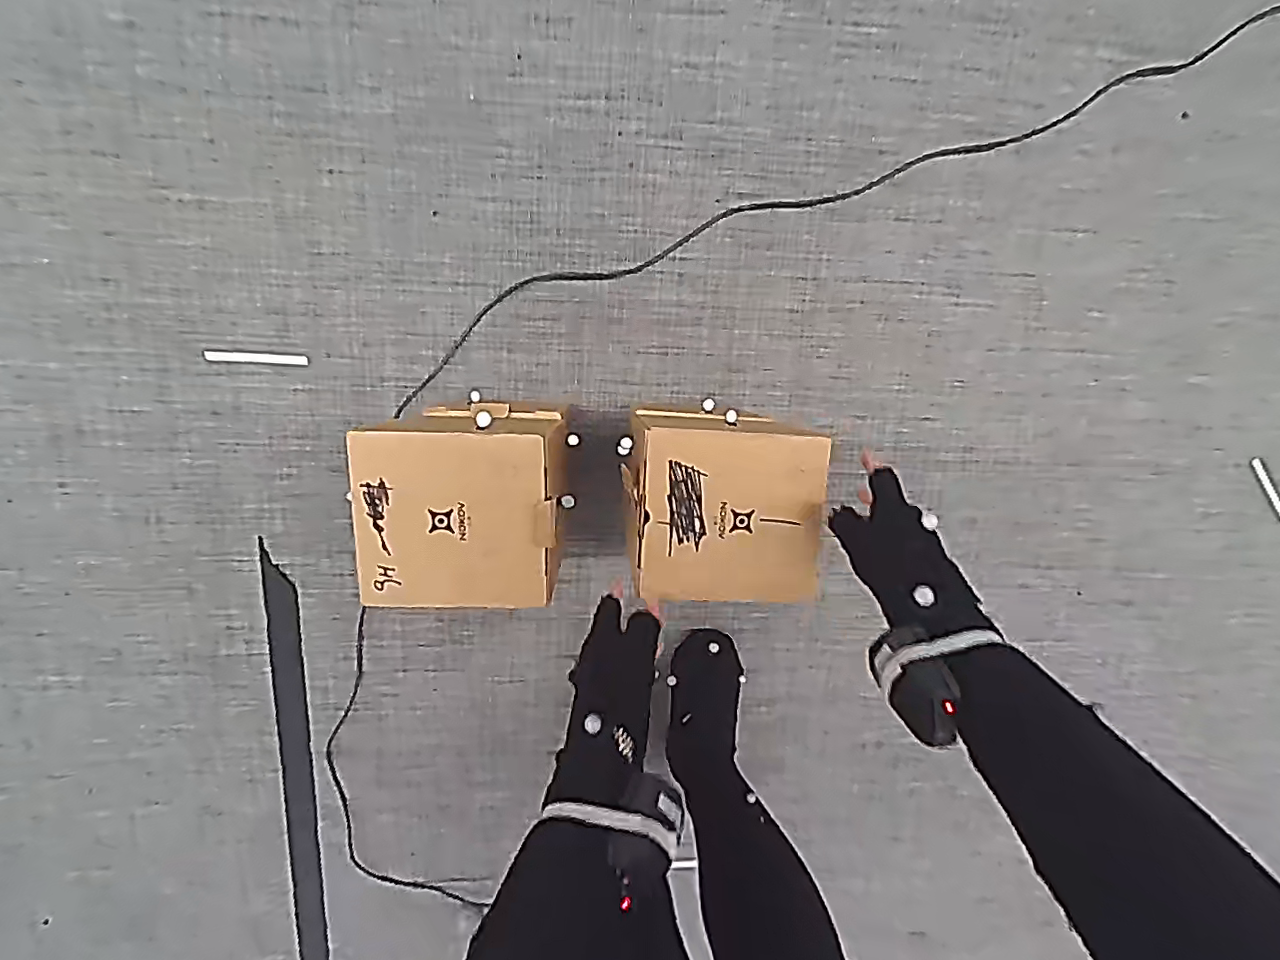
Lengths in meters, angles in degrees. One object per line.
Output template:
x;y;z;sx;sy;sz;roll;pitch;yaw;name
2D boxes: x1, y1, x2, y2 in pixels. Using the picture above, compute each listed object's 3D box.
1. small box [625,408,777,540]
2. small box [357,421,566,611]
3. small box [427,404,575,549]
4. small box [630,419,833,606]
0.072;-0.010;0.749;0.179;0.176;0.168;3;101;-5;small box
-0.170;0.027;0.573;0.179;0.176;0.168;1;101;-4;small box
-0.177;-0.010;0.731;0.168;0.176;0.179;2;102;-2;small box
0.083;0.025;0.589;0.179;0.176;0.168;2;101;-6;small box
